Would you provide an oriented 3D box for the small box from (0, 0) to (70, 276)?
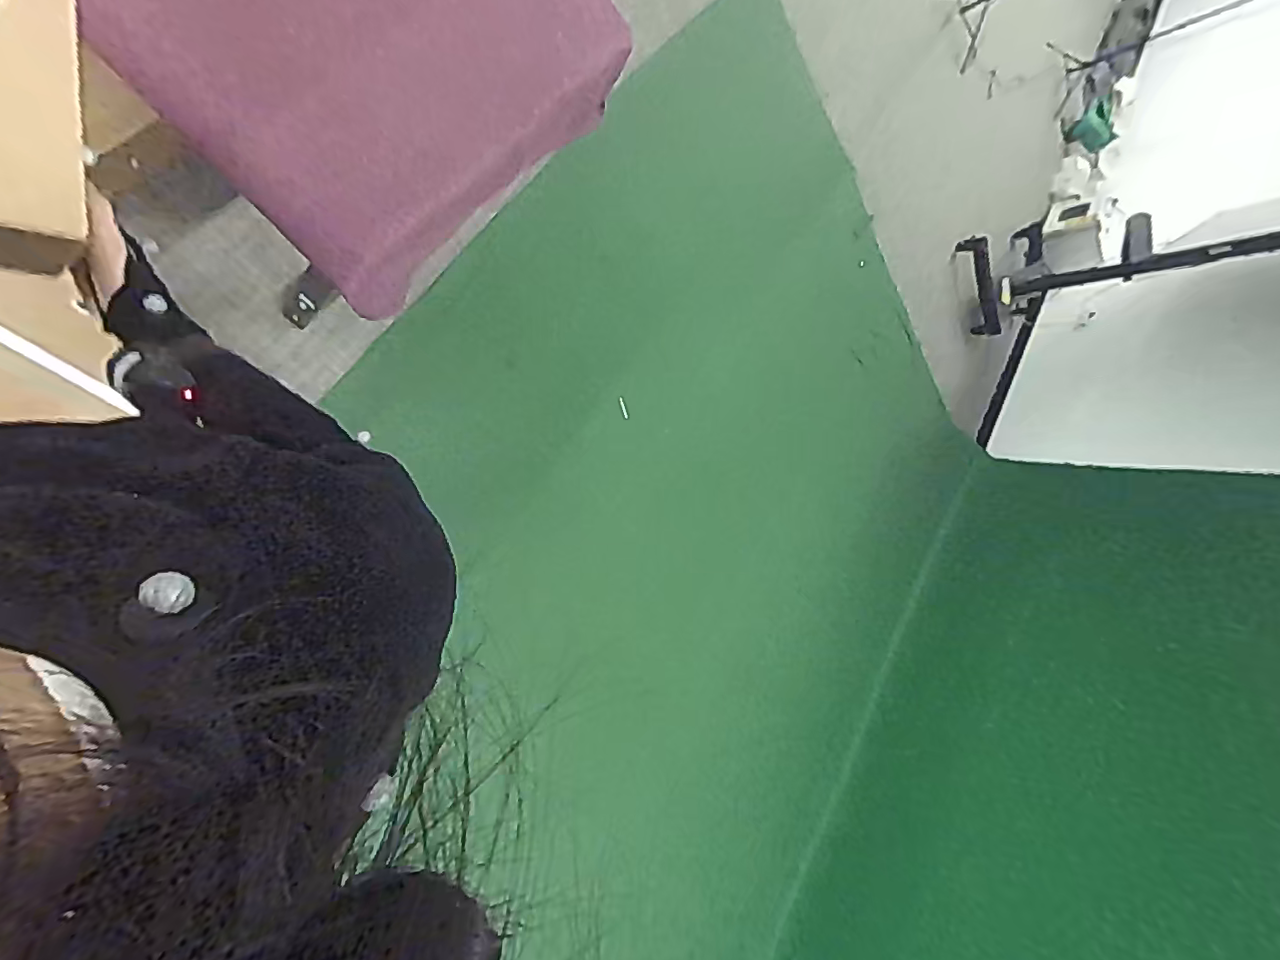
[{"bbox_3d":[-0.481,-0.243,0.330,0.168,0.176,0.179,-4,98,-51],"label":"small box"}]
